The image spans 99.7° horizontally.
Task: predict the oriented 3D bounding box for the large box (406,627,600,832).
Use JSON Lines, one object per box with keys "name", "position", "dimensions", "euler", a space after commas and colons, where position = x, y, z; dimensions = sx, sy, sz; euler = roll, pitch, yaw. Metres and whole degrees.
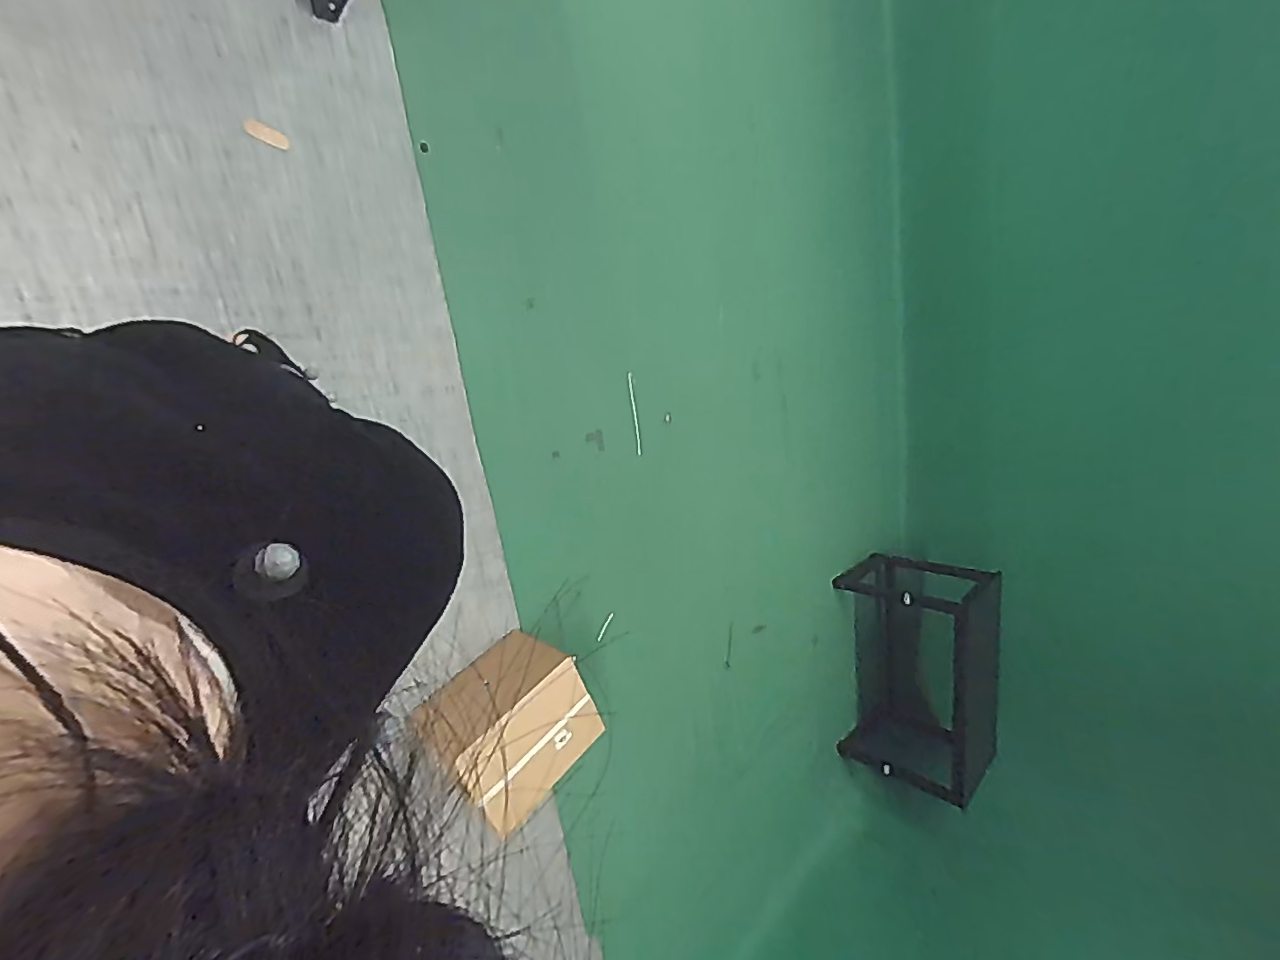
{"name": "large box", "position": [-0.403, 0.718, 1.622], "dimensions": [0.408, 0.320, 0.320], "euler": [-37, 119, -36]}
